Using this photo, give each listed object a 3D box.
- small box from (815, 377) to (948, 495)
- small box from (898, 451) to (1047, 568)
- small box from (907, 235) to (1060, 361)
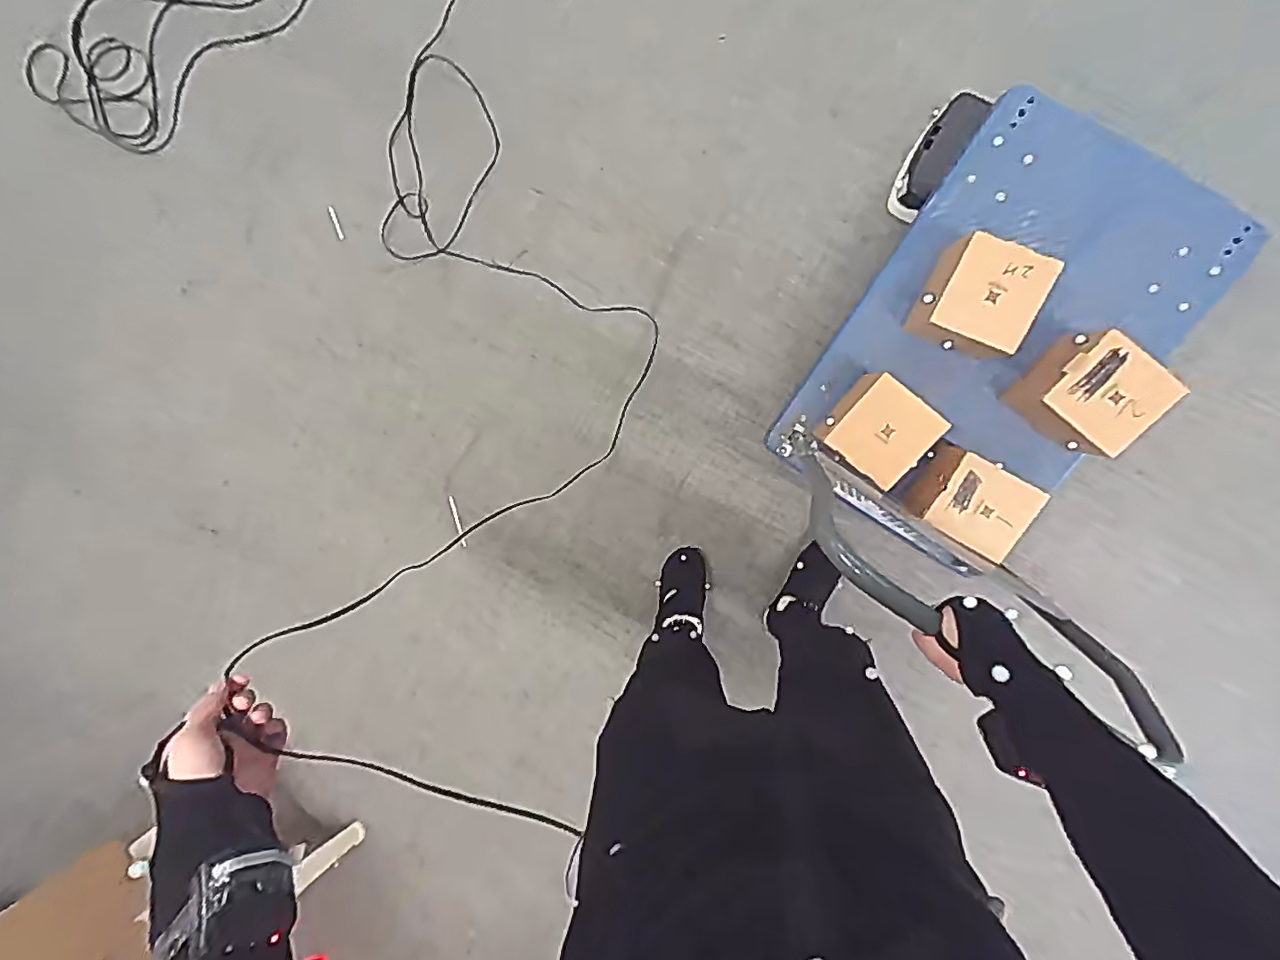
[{"bbox_3d":[0.490,-0.099,1.134,0.168,0.176,0.179,40,104,1],"label":"small box"},{"bbox_3d":[0.673,0.050,1.124,0.179,0.176,0.168,30,103,3],"label":"small box"},{"bbox_3d":[0.655,-0.345,1.063,0.168,0.176,0.179,25,102,4],"label":"small box"}]
